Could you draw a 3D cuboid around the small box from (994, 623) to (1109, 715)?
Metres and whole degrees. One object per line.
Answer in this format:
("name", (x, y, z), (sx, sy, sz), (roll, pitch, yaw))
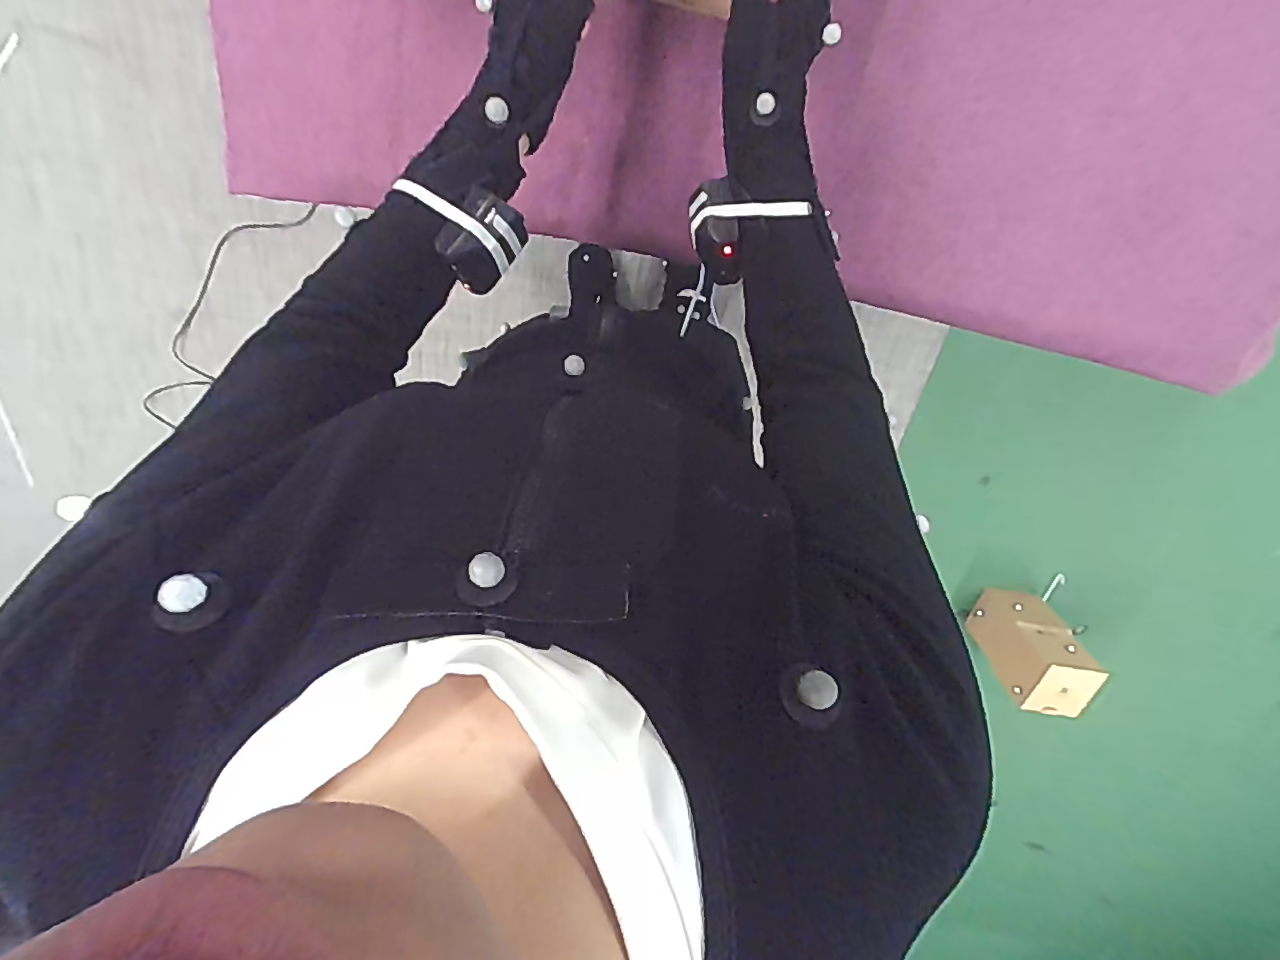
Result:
("small box", (1.160, 0.533, 1.543), (0.168, 0.176, 0.179), (10, 118, -2))

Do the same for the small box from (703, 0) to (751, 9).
("small box", (0.041, -0.504, 0.410), (0.168, 0.176, 0.179), (11, 117, -4))
